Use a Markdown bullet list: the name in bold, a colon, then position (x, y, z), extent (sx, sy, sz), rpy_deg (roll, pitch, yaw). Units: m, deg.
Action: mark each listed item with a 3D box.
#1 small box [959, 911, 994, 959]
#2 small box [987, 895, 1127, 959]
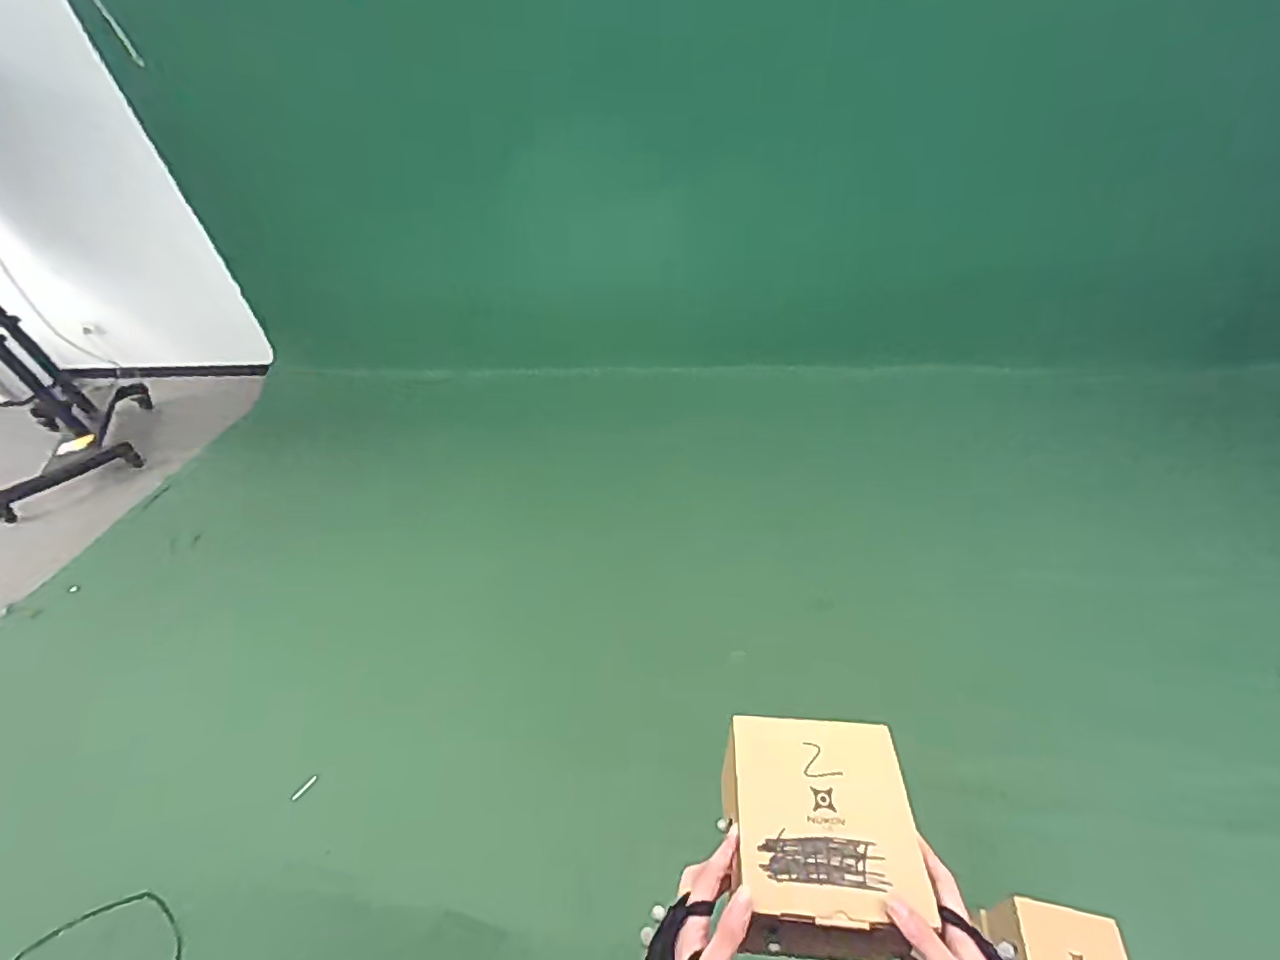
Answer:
- **small box**: position (0.778, 1.024, 1.105), extent (0.168, 0.176, 0.179), rpy_deg (4, 44, 12)
- **small box**: position (0.766, 0.906, 0.991), extent (0.168, 0.176, 0.179), rpy_deg (6, 44, 14)
